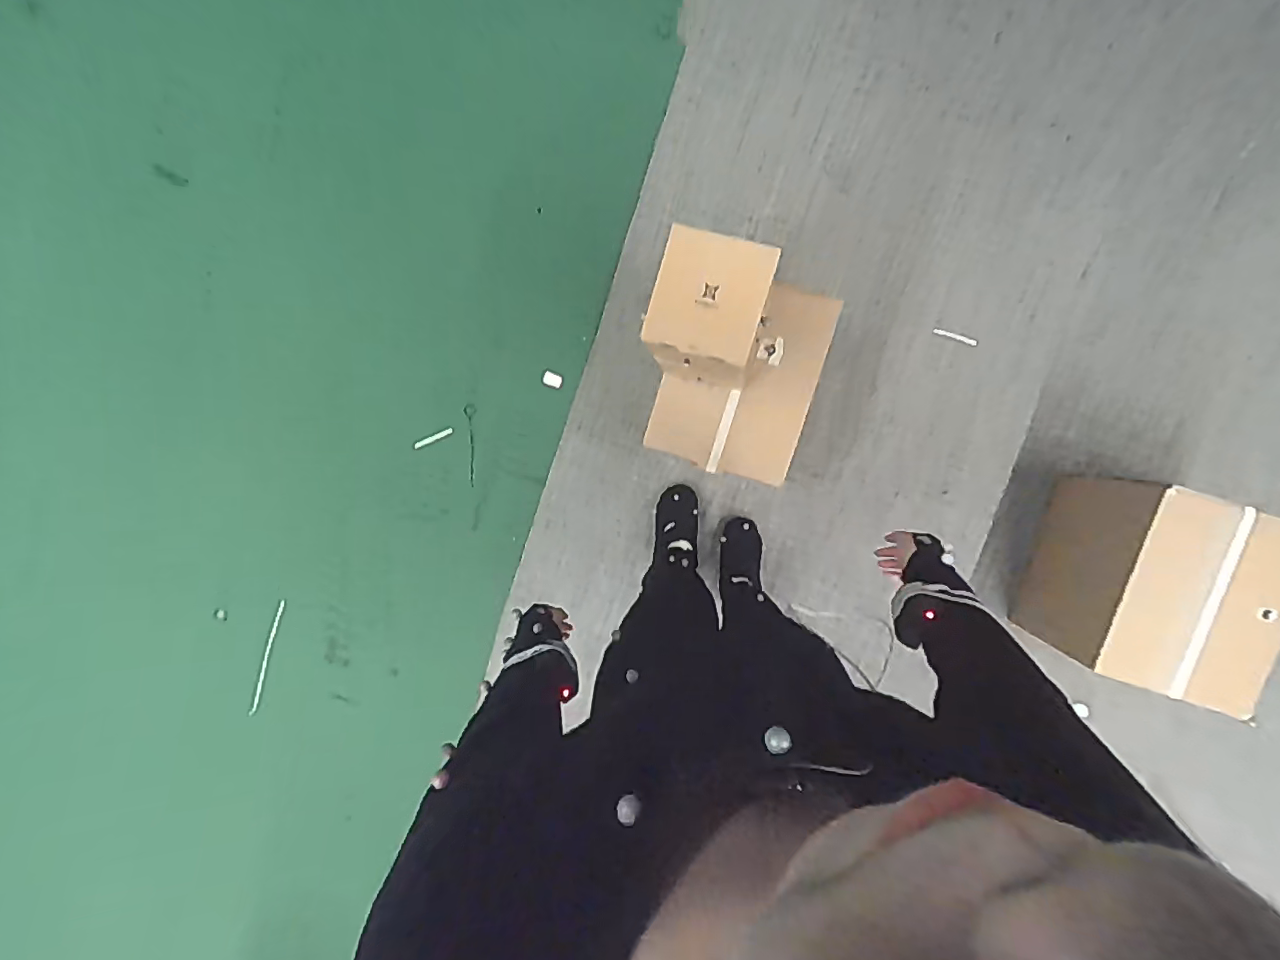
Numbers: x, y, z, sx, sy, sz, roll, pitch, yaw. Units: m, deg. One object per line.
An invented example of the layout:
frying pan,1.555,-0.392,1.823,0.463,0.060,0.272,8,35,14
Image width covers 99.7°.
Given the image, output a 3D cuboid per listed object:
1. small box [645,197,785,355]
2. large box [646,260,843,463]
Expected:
small box,0.119,-0.315,0.869,0.168,0.176,0.179,18,98,7
large box,0.229,-0.275,1.272,0.320,0.320,0.408,18,97,5
